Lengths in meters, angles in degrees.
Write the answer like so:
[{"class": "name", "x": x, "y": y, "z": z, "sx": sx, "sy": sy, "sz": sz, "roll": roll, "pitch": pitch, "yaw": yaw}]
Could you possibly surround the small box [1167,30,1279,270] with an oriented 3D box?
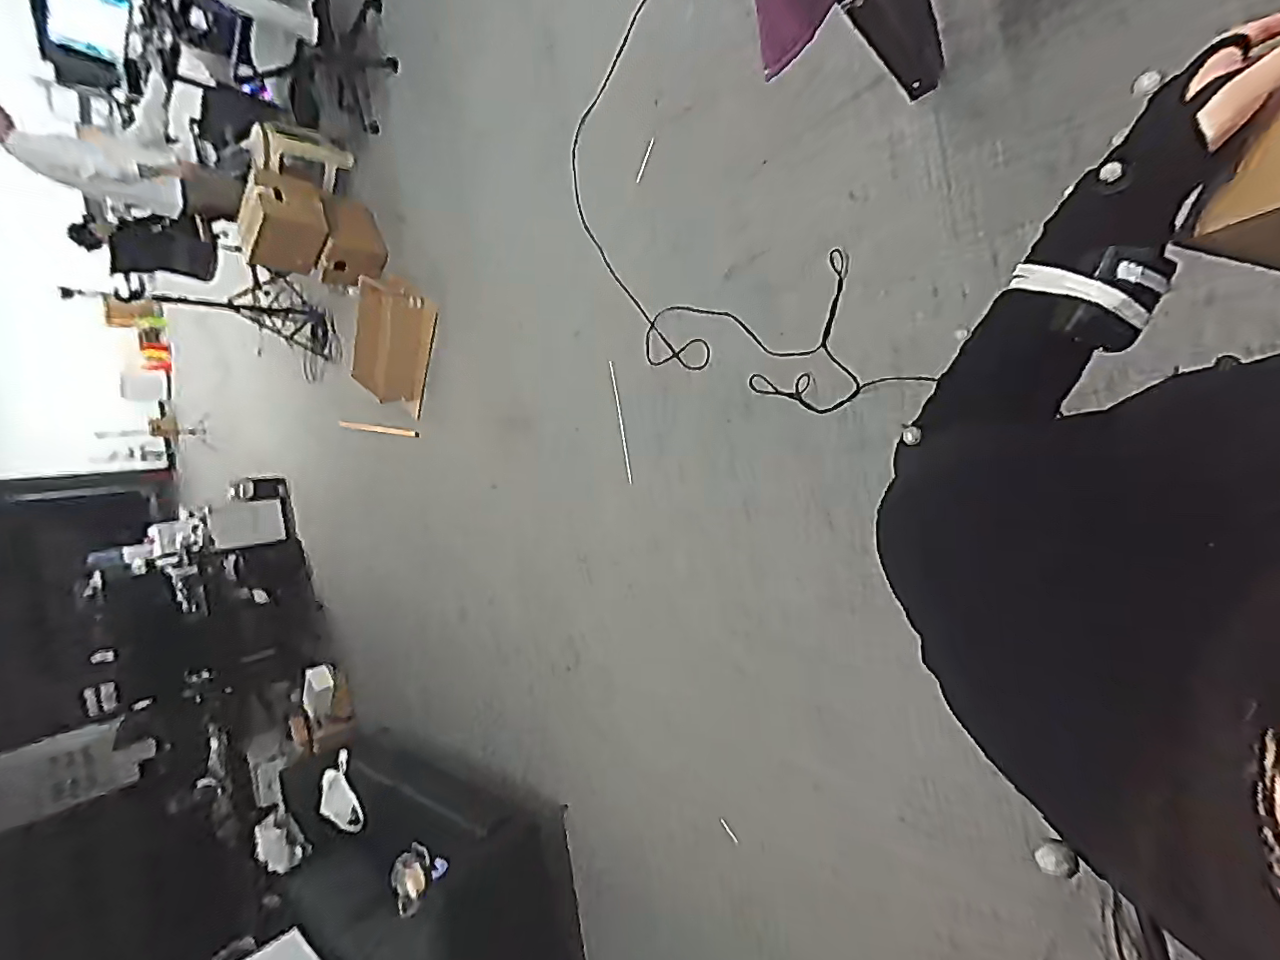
[{"class": "small box", "x": 0.462, "y": -0.205, "z": 0.291, "sx": 0.179, "sy": 0.176, "sz": 0.168, "roll": 22, "pitch": 107, "yaw": 12}]
